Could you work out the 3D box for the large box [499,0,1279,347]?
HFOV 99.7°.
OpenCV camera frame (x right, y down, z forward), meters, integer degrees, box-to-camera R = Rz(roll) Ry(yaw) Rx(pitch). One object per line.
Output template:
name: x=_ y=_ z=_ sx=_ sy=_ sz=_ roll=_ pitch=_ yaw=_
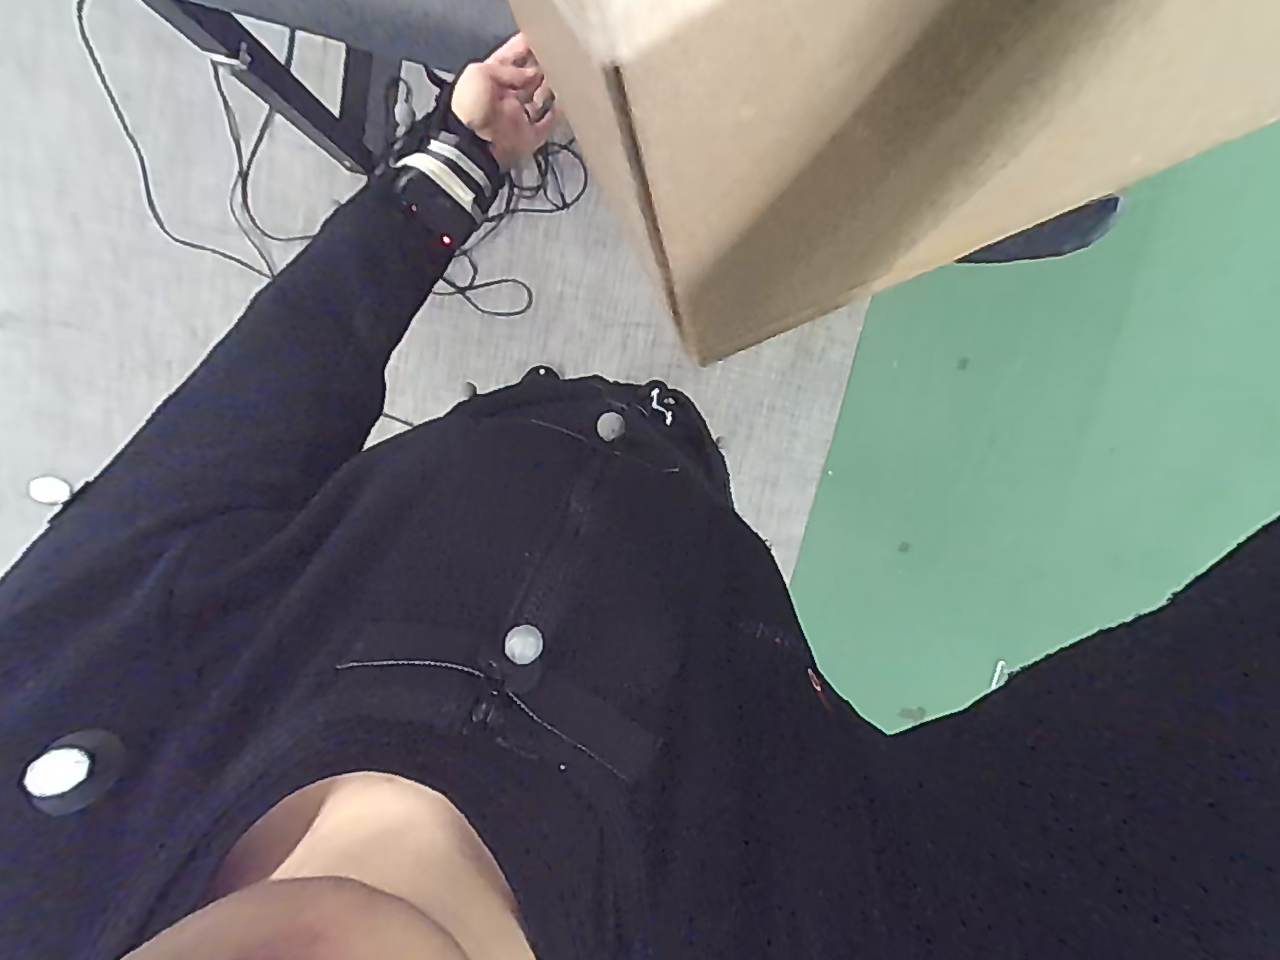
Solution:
large box: x=0.066 y=-0.345 z=0.233 sx=0.320 sy=0.320 sz=0.408 roll=-25 pitch=62 yaw=3
